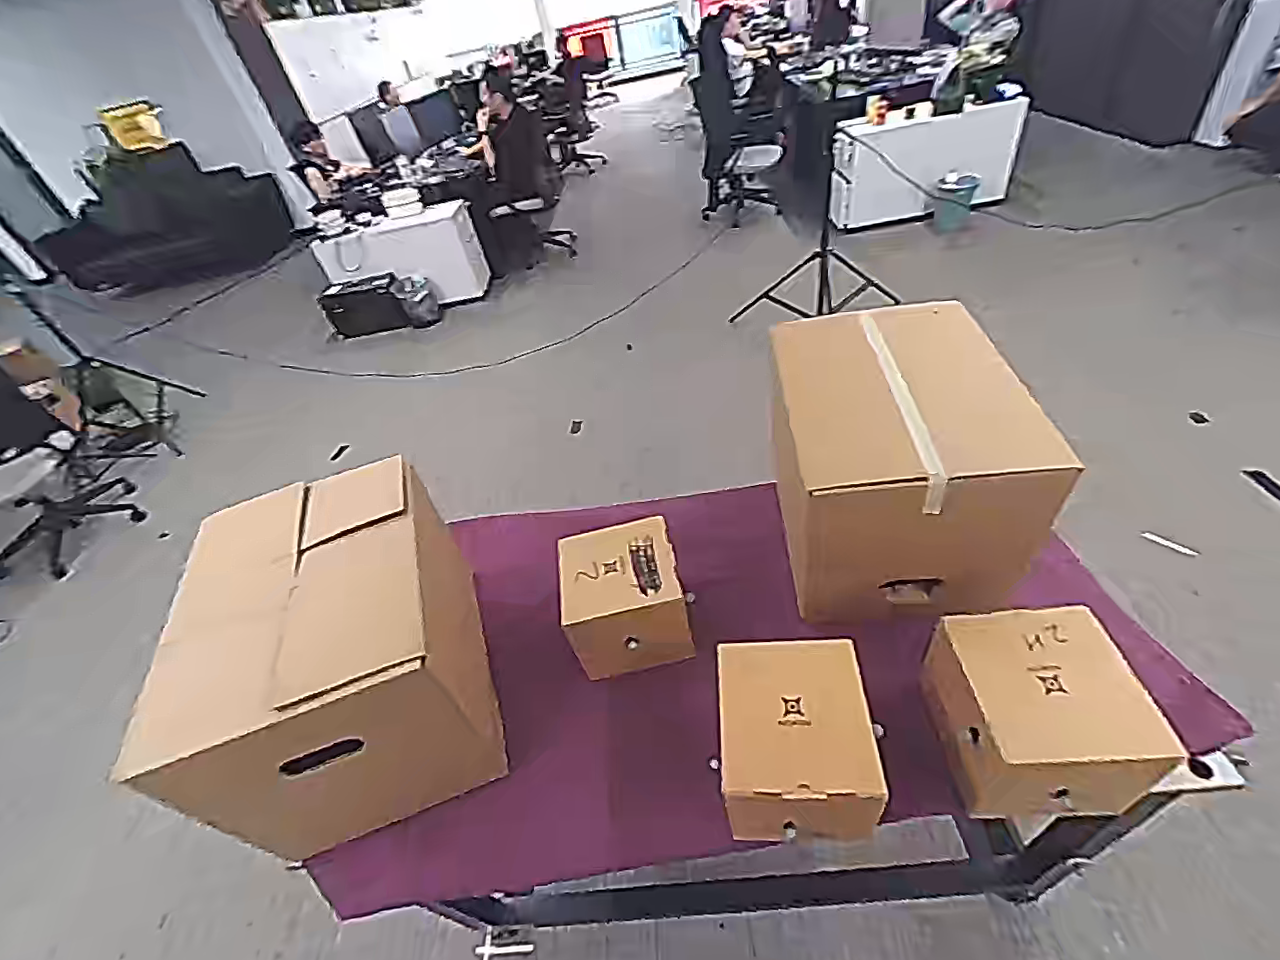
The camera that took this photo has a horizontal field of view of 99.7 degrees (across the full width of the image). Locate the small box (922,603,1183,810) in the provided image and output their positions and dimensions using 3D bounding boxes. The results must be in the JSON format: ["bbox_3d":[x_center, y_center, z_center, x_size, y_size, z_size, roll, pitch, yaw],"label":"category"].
[{"bbox_3d":[0.456,0.271,0.637,0.168,0.176,0.179,-6,41,8],"label":"small box"}]

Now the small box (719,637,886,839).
[{"bbox_3d":[0.185,0.315,0.665,0.168,0.176,0.179,-5,43,10],"label":"small box"}]
